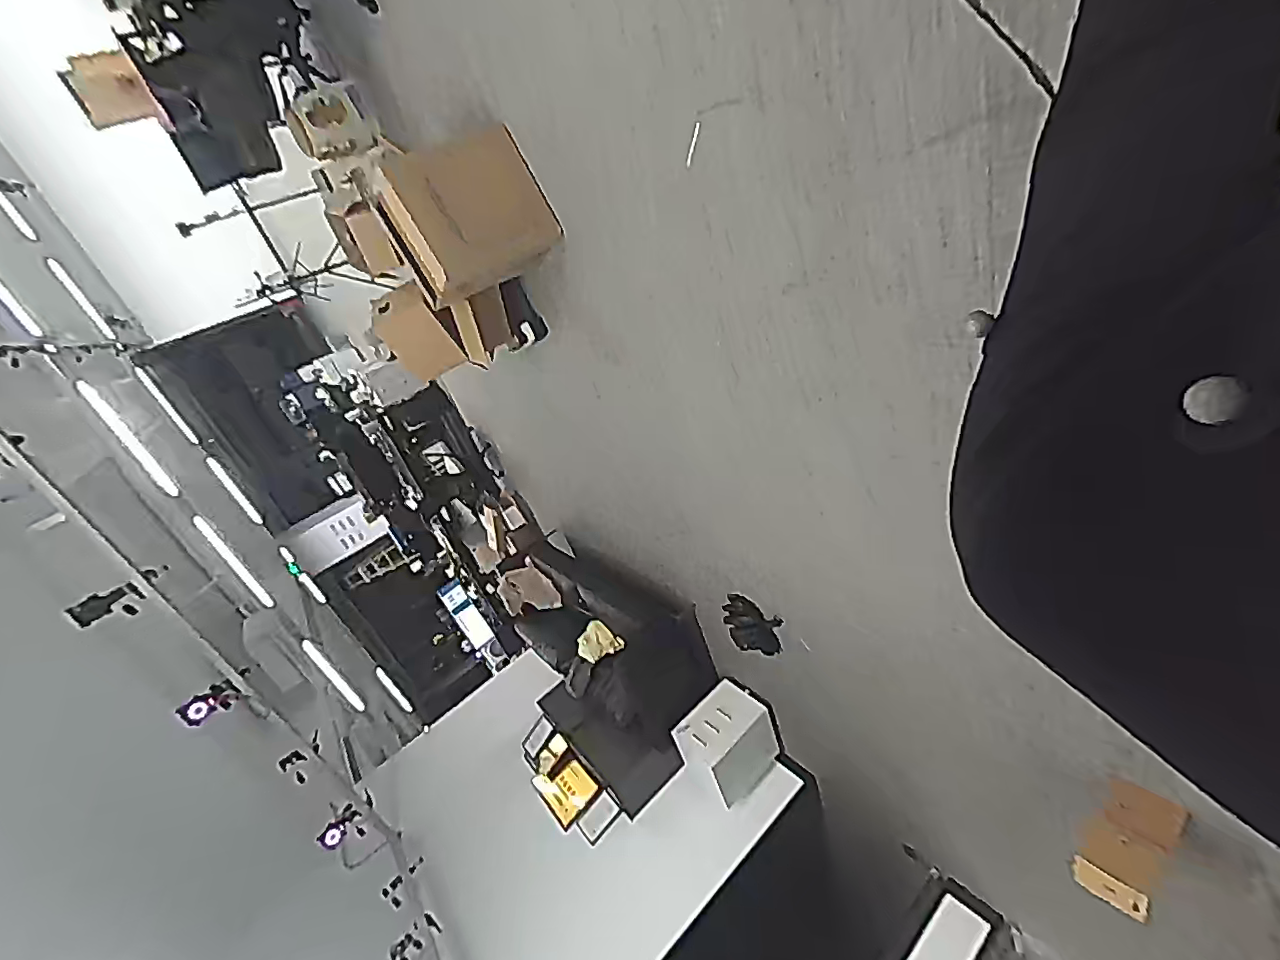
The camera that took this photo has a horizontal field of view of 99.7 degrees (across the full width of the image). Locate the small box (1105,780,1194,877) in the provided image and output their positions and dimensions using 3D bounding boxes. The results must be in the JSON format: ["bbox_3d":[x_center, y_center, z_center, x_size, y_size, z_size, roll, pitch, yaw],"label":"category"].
[{"bbox_3d":[1.637,1.111,1.745,0.179,0.176,0.168,17,137,51],"label":"small box"}]

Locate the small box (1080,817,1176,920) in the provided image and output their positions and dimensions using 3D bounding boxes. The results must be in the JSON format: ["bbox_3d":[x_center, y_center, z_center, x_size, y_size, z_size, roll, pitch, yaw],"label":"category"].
[{"bbox_3d":[1.511,1.193,1.680,0.179,0.176,0.168,20,138,52],"label":"small box"}]
